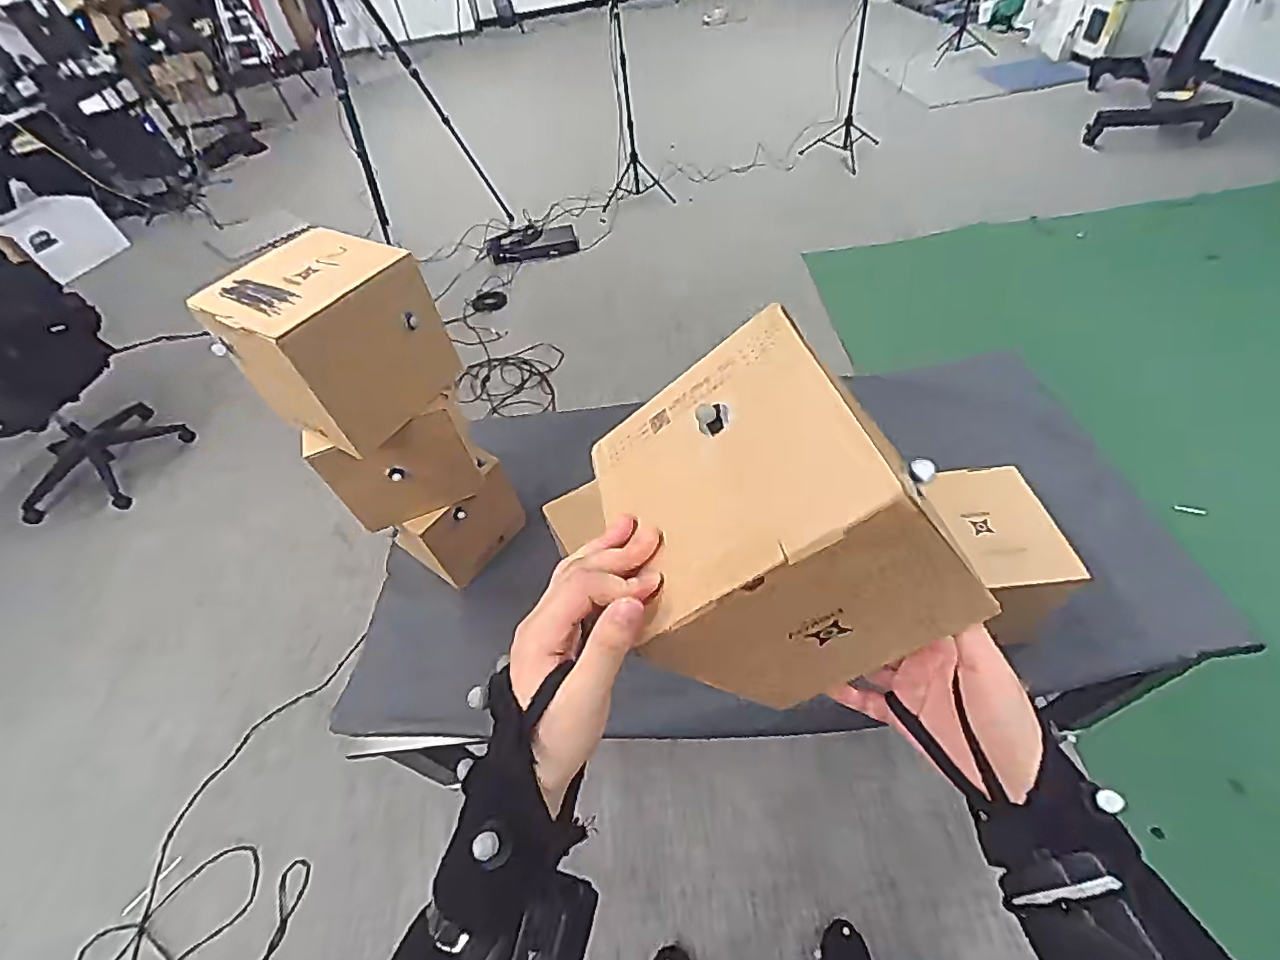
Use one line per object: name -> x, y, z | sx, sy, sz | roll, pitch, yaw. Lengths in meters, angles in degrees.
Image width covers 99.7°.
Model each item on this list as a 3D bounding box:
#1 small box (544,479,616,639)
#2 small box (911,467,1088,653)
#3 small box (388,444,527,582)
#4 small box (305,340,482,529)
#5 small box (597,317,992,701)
small box -> -0.017, 0.108, 0.788 | 0.168, 0.176, 0.179 | -26, 51, -14
small box -> 0.423, 0.108, 0.718 | 0.168, 0.176, 0.179 | -7, 49, 4
small box -> -0.319, 0.040, 0.895 | 0.179, 0.176, 0.168 | 26, 59, 27
small box -> -0.339, -0.061, 0.766 | 0.179, 0.176, 0.168 | -22, 51, -9
small box -> 0.091, 0.027, 0.365 | 0.168, 0.179, 0.176 | -35, 44, 26
